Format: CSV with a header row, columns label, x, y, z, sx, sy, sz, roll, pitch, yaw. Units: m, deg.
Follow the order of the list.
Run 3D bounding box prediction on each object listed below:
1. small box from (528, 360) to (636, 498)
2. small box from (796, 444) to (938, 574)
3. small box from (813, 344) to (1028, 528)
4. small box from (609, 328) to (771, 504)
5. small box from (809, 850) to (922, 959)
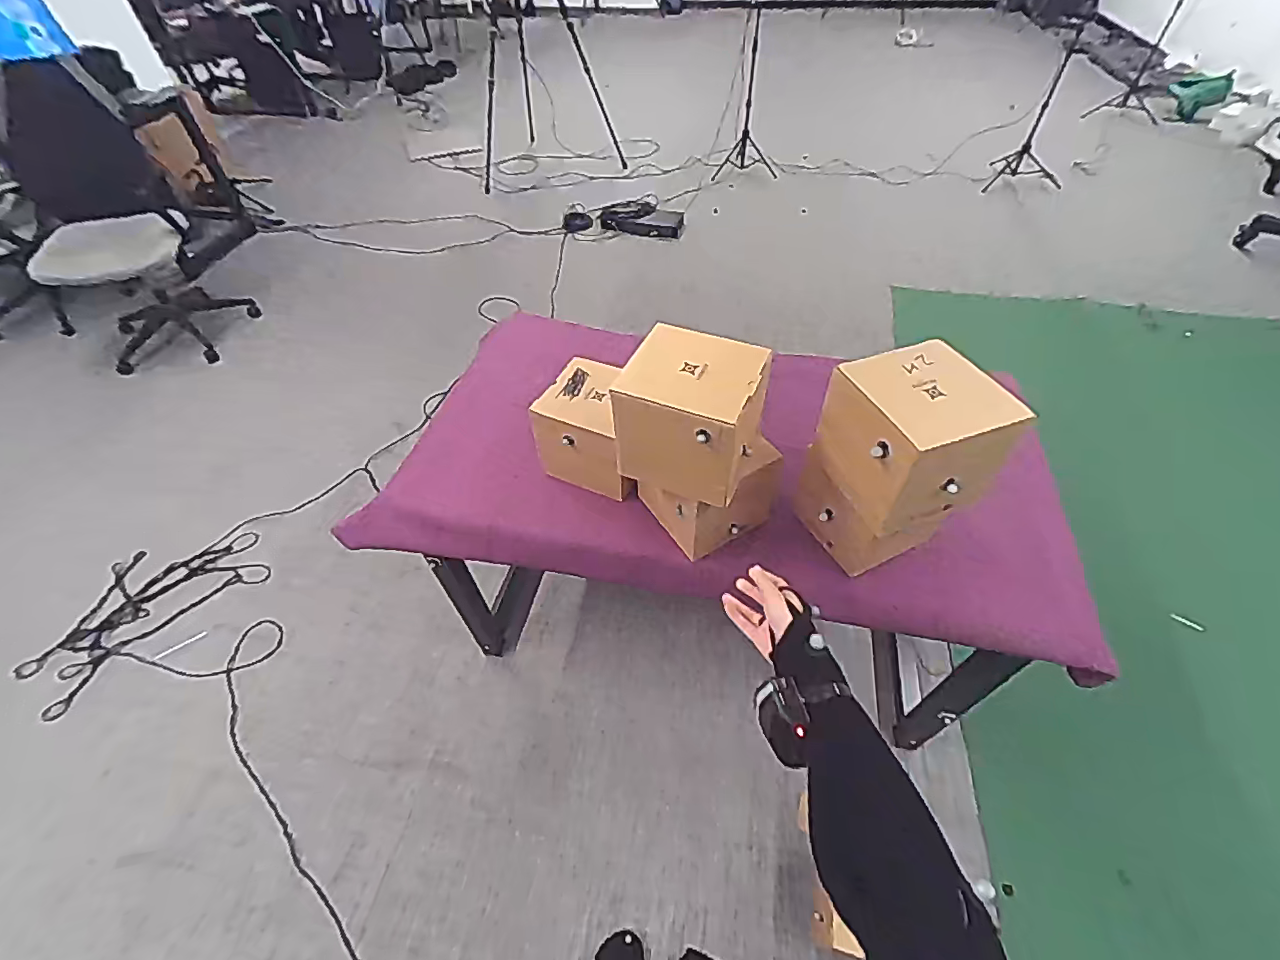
label,x,y,z,sx,sy,sz,roll,pitch,yaw
small box,-0.079,-0.091,1.004,0.179,0.176,0.168,20,53,17
small box,0.376,0.026,0.889,0.179,0.176,0.168,-22,51,-16
small box,0.363,-0.054,0.740,0.168,0.176,0.179,-15,49,-12
small box,0.072,-0.090,0.783,0.179,0.176,0.168,18,52,16
small box,0.453,0.889,1.106,0.179,0.176,0.168,11,51,10
